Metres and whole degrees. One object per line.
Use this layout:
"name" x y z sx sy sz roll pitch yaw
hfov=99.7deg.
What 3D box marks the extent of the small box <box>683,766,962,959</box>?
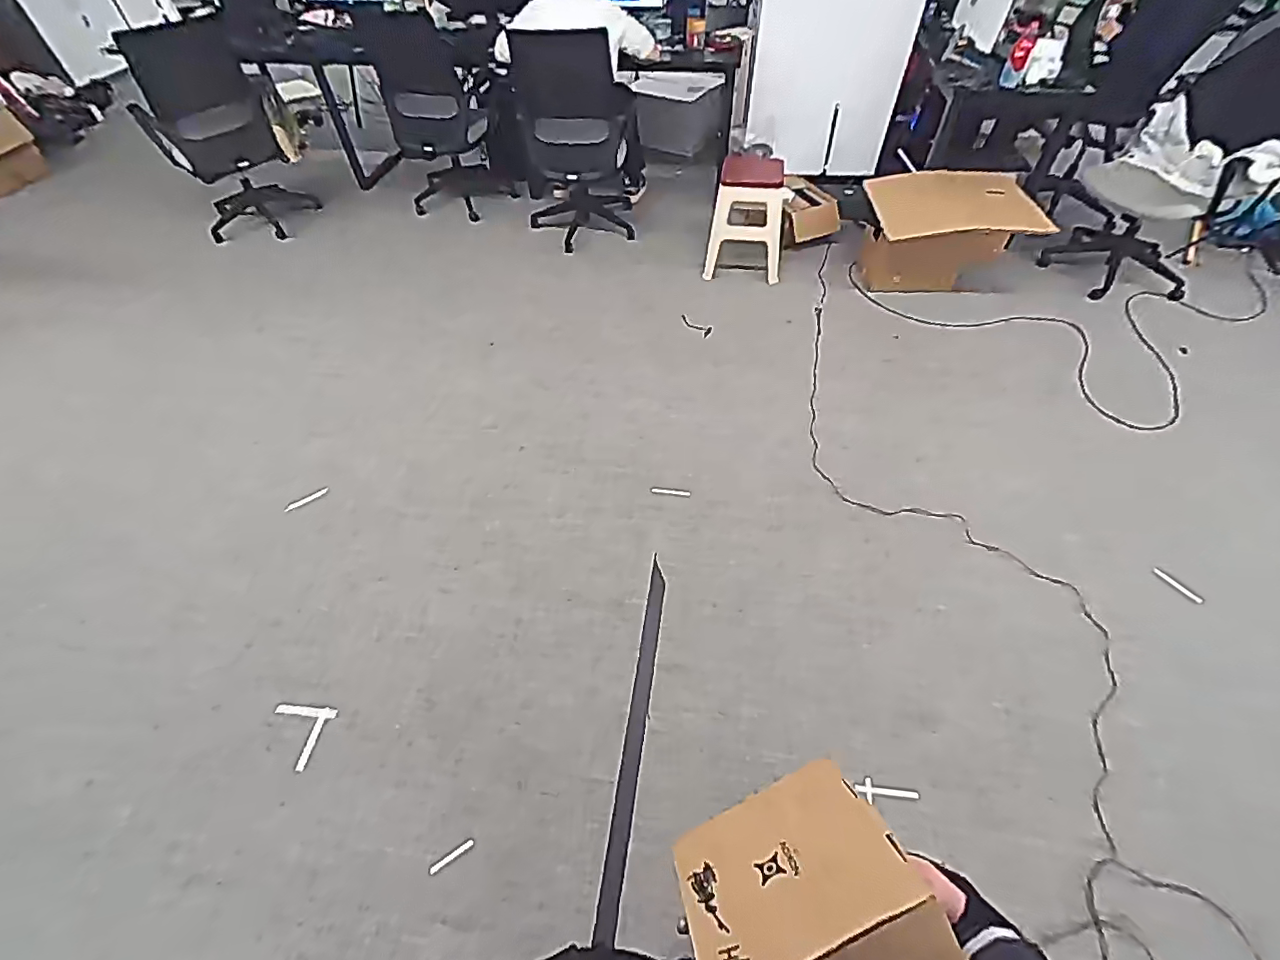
"small box" 0.160 0.399 0.464 0.179 0.168 0.176 -25 94 -4
